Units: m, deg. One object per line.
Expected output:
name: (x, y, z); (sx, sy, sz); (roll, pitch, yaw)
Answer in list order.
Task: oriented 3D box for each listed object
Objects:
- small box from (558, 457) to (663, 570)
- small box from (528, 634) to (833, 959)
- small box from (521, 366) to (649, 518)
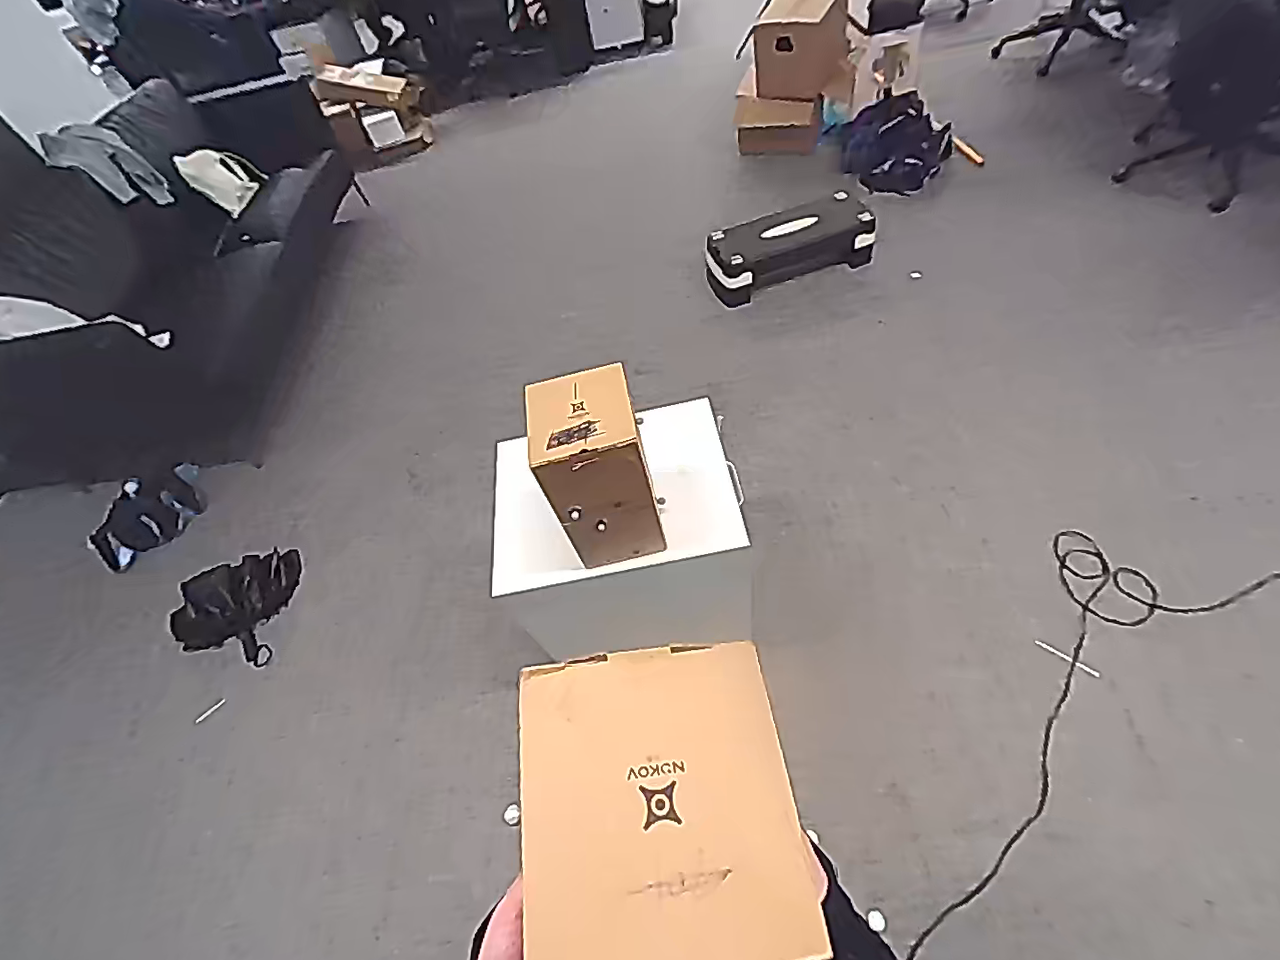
small box: (-0.060, 0.043, 1.030); (0.168, 0.176, 0.179); (-15, 51, 2)
small box: (0.008, 0.231, 0.396); (0.168, 0.176, 0.179); (-5, 58, -8)
small box: (-0.089, -0.054, 0.899); (0.168, 0.176, 0.179); (-14, 51, 1)
